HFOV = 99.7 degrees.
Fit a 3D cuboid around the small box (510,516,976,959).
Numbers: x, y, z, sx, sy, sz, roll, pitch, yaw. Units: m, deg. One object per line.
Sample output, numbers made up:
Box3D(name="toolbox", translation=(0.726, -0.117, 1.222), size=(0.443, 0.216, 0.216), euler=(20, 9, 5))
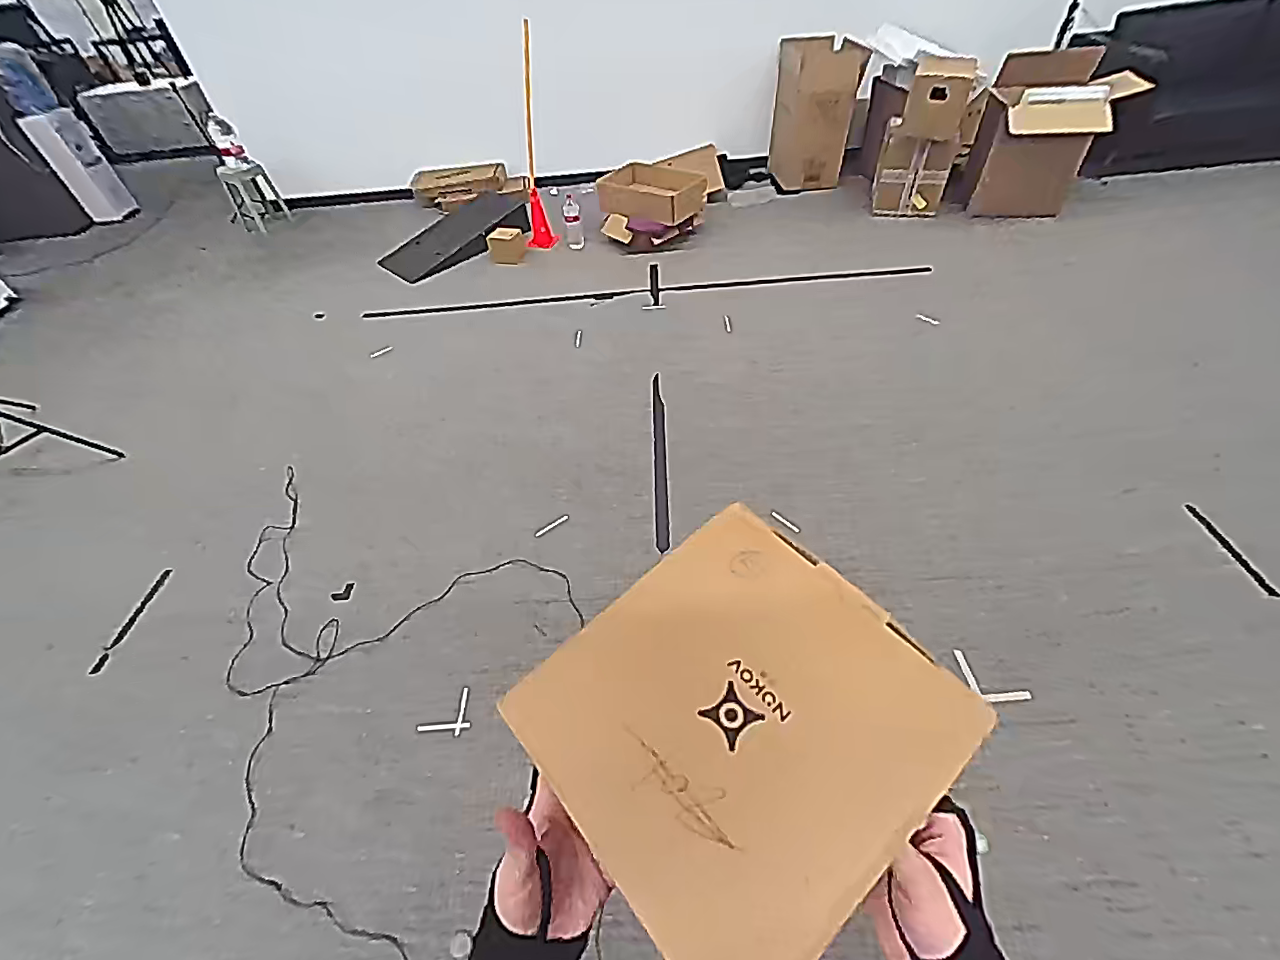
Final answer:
Box3D(name="small box", translation=(0.055, 0.162, 0.335), size=(0.179, 0.176, 0.168), euler=(-40, 59, -19))
